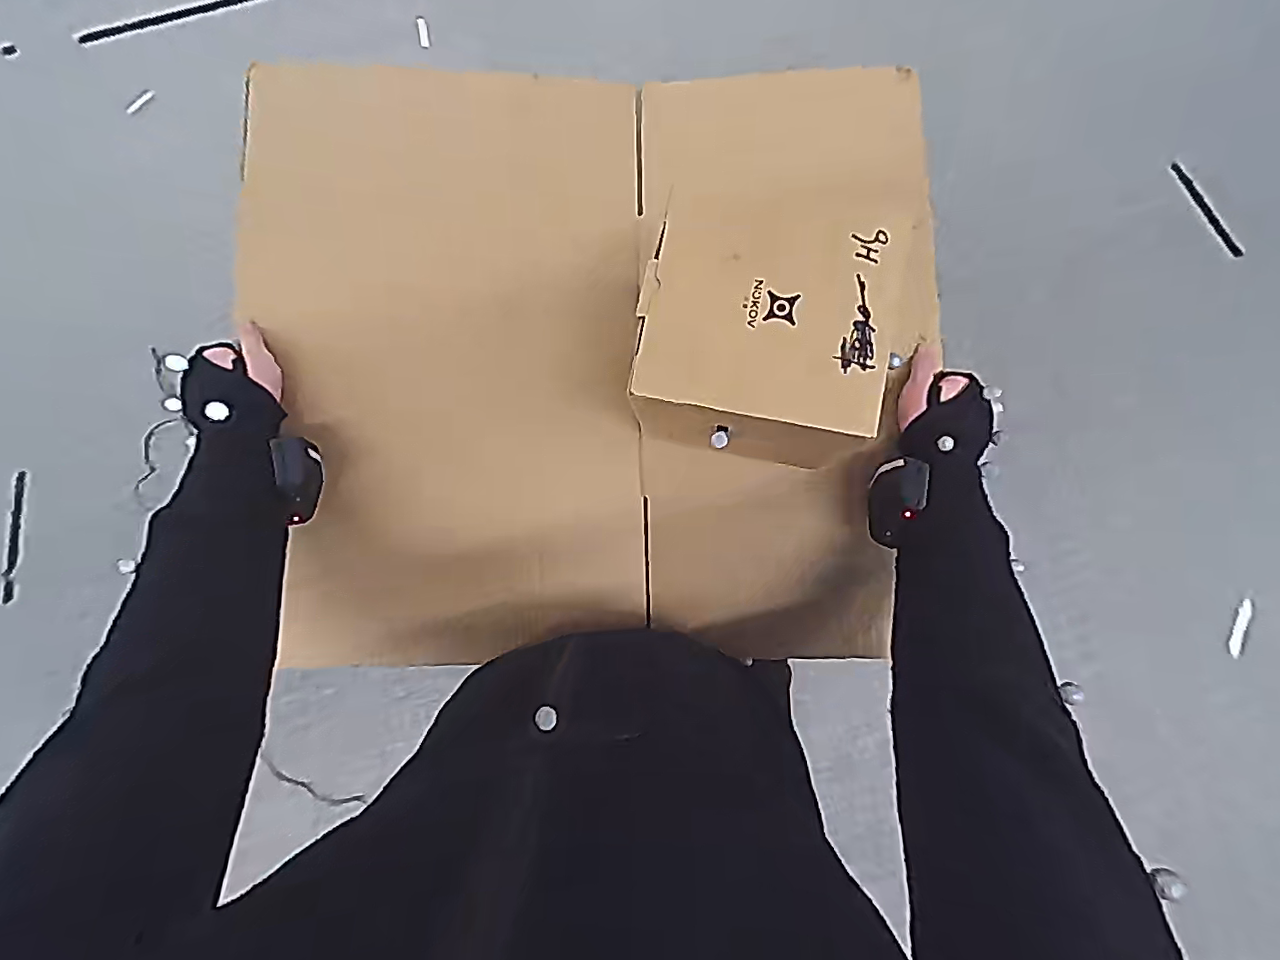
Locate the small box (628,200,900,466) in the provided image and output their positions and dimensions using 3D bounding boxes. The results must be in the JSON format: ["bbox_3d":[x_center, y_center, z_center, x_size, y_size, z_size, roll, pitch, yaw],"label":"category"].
[{"bbox_3d":[0.099,-0.112,0.475,0.179,0.176,0.168,10,85,7],"label":"small box"}]
